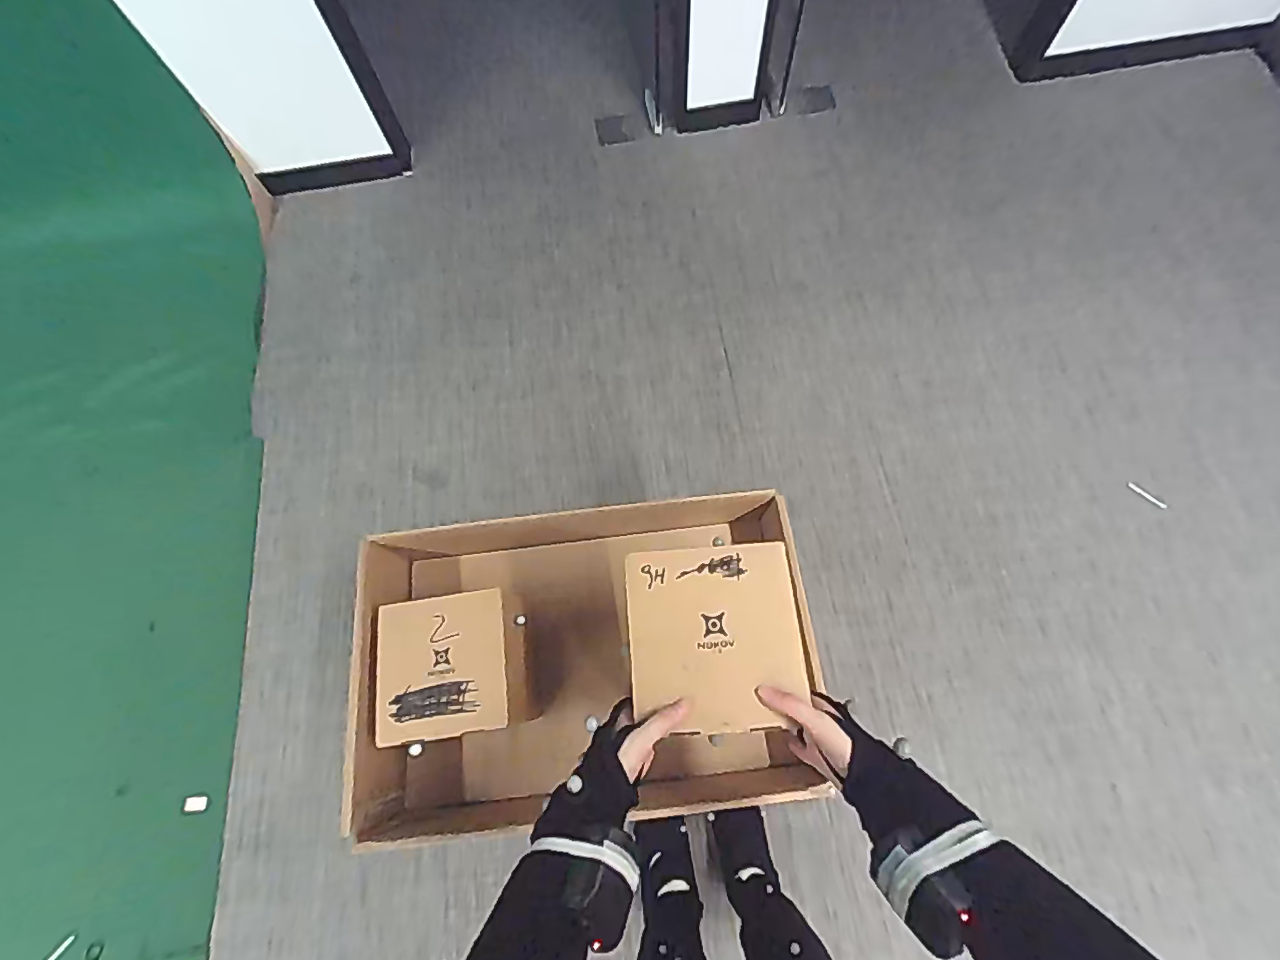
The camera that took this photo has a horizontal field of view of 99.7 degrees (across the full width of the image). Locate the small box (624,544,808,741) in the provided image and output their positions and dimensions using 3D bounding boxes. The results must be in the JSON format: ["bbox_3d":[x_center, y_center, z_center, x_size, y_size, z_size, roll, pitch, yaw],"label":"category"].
[{"bbox_3d":[0.073,0.179,0.597,0.168,0.176,0.179,-5,69,1],"label":"small box"}]
